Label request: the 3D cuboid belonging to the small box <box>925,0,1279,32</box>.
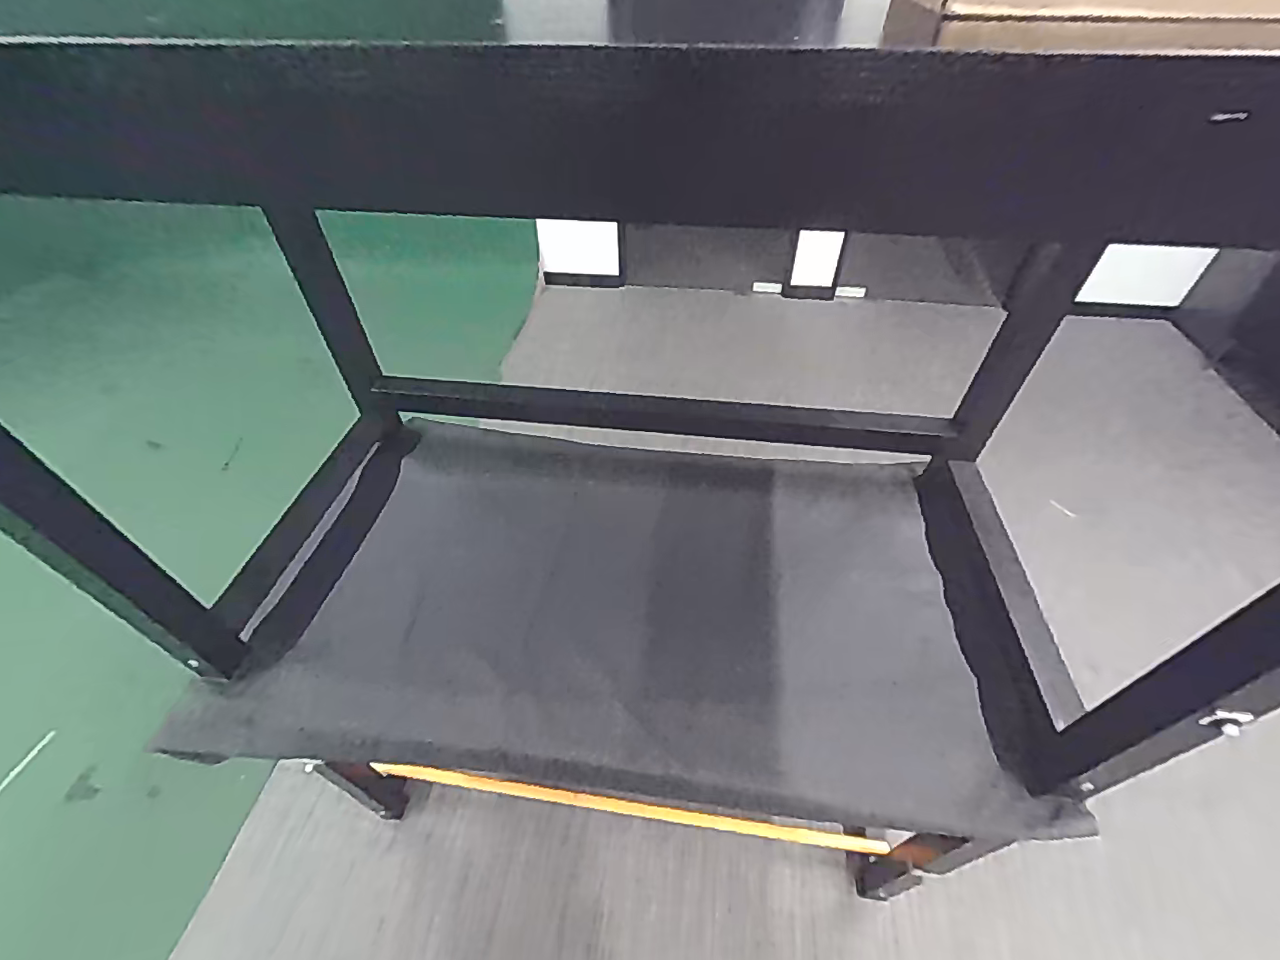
[{"bbox_3d":[0.224,-0.308,0.223,0.168,0.176,0.179,9,47,9],"label":"small box"}]
